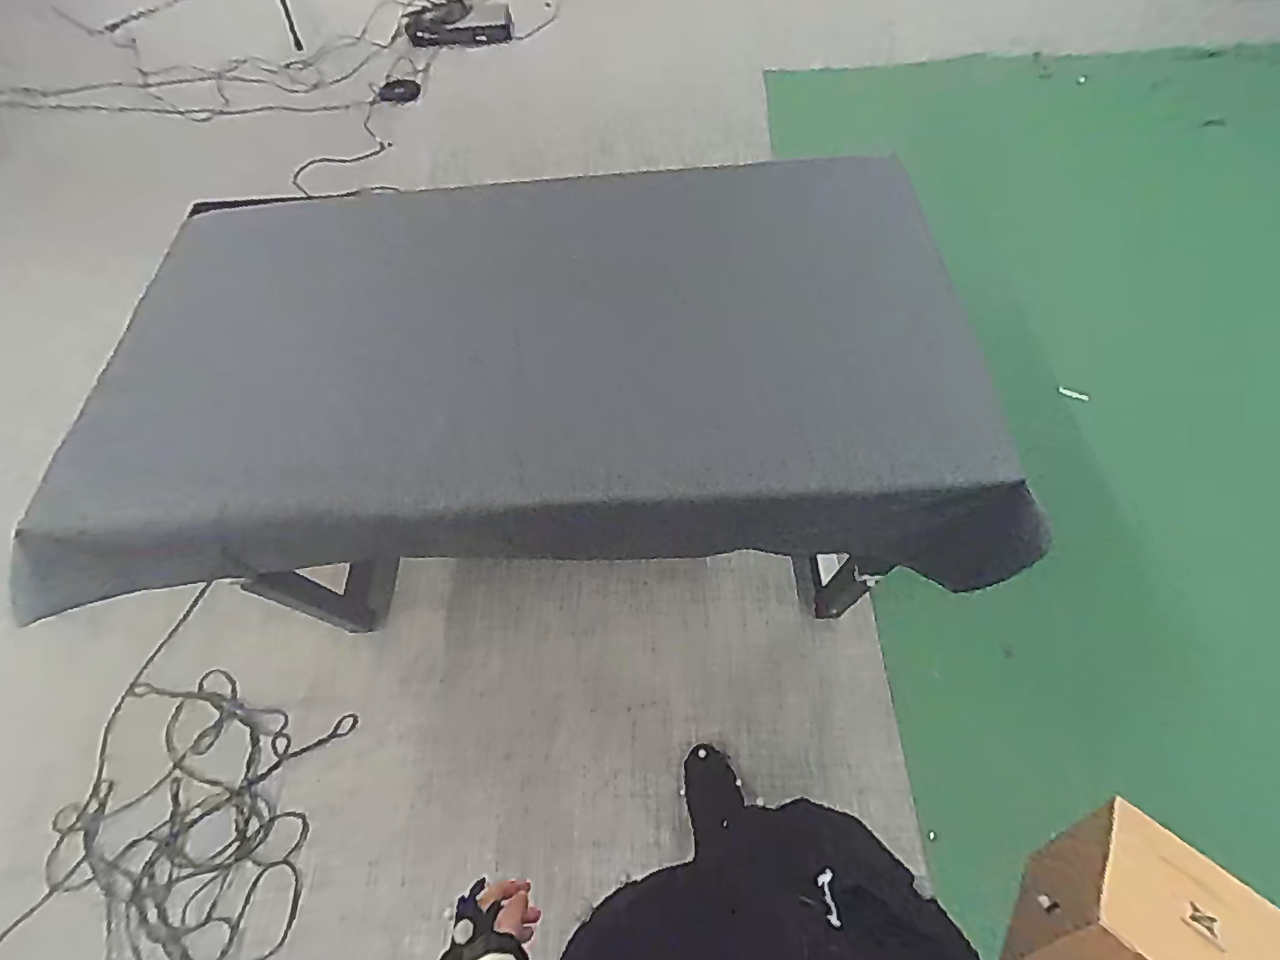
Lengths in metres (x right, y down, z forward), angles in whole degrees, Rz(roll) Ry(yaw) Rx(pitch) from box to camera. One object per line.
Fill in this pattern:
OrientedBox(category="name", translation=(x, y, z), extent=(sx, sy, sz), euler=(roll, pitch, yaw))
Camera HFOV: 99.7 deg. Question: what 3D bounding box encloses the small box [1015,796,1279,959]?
OrientedBox(category="small box", translation=(0.522, 0.481, 0.549), extent=(0.168, 0.176, 0.179), euler=(37, 38, 30))
